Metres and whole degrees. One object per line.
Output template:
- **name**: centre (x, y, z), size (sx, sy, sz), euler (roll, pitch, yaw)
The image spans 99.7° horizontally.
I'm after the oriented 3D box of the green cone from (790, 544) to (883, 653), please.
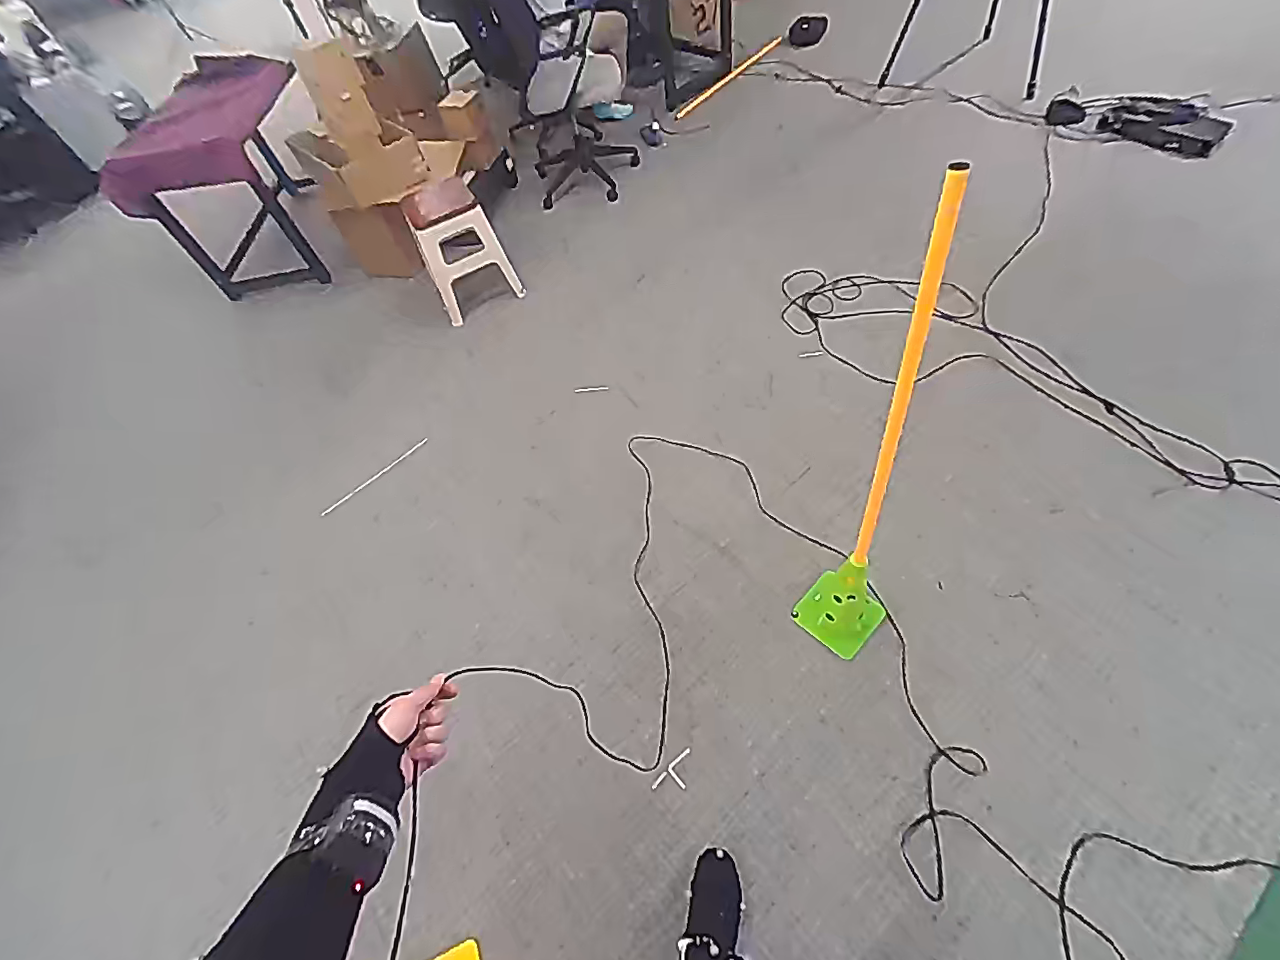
- **green cone**: centre (0.537, 0.271, 1.404), size (0.200, 0.368, 0.202), euler (37, 68, 29)
